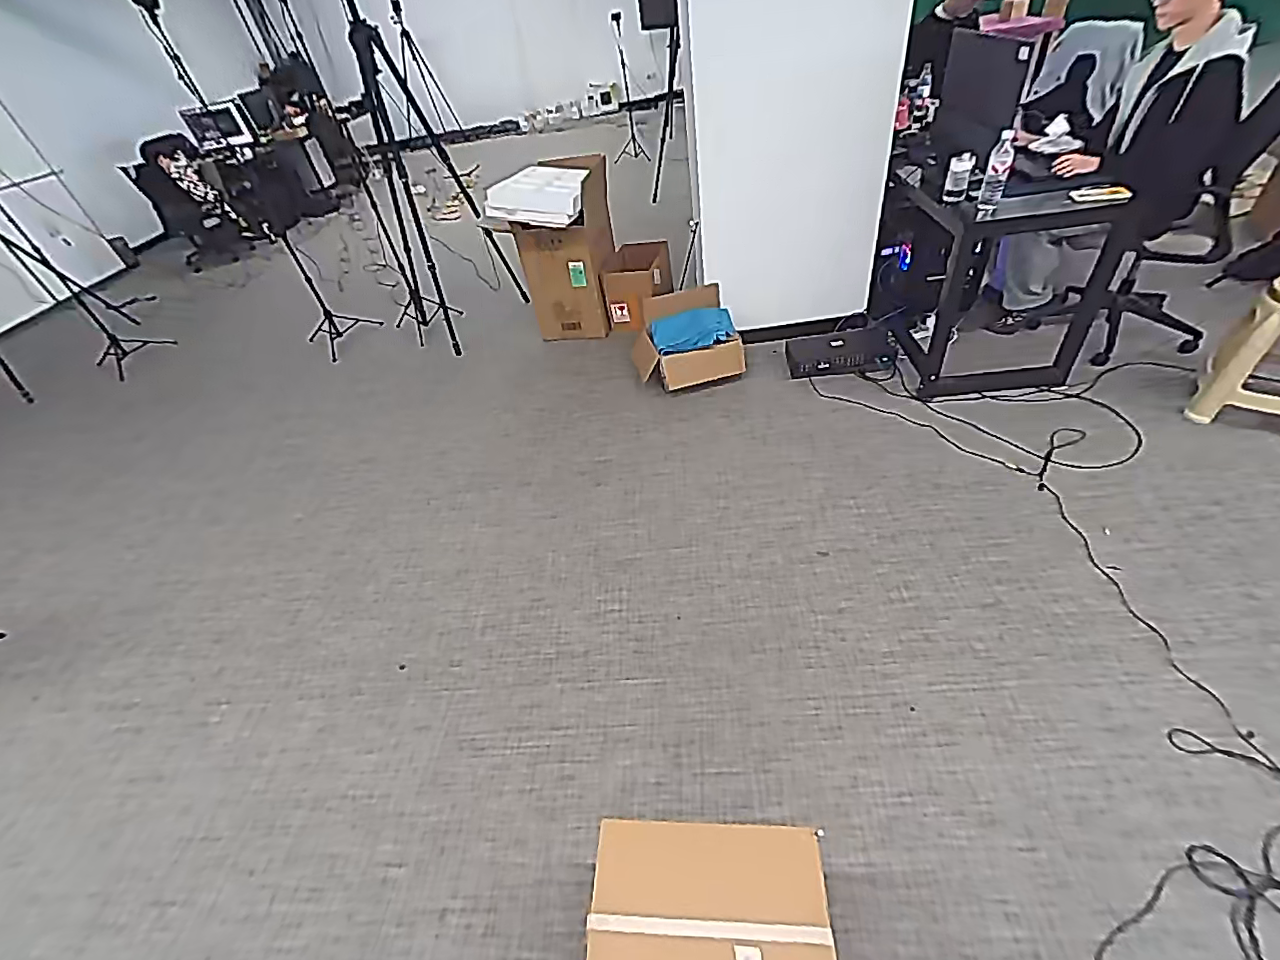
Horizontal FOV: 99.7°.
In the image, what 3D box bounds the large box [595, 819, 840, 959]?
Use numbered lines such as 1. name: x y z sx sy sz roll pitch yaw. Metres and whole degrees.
1. large box: 0.142 0.860 1.006 0.408 0.320 0.320 -3 43 8
